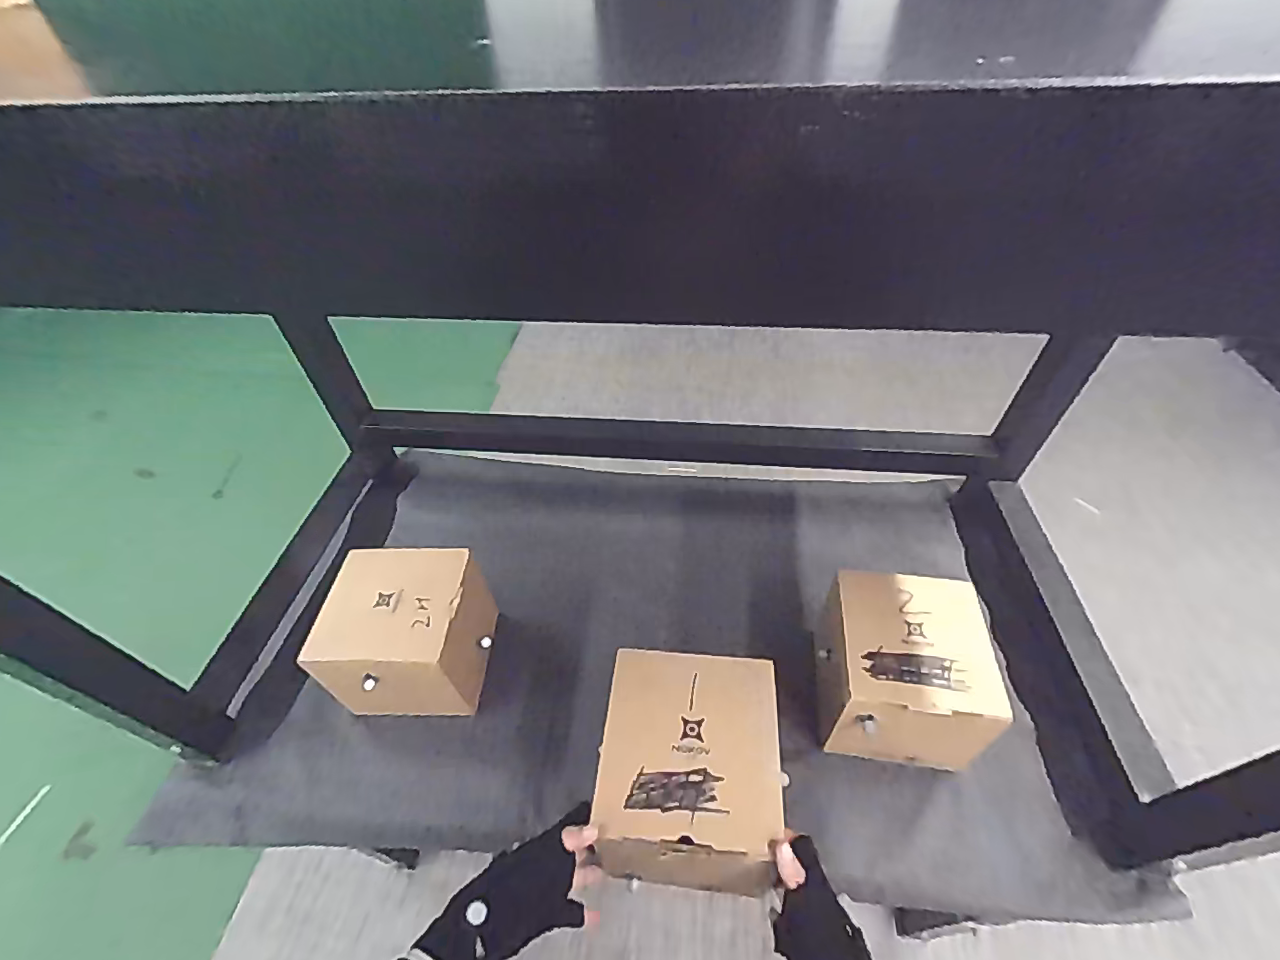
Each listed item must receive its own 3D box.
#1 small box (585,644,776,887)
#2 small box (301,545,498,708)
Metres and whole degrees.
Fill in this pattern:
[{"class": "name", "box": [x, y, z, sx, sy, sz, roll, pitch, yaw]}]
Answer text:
[{"class": "small box", "box": [0.048, 0.298, 0.566, 0.168, 0.176, 0.179, 3, 43, 7]}, {"class": "small box", "box": [-0.317, 0.207, 0.756, 0.179, 0.176, 0.168, 0, 47, 3]}]
